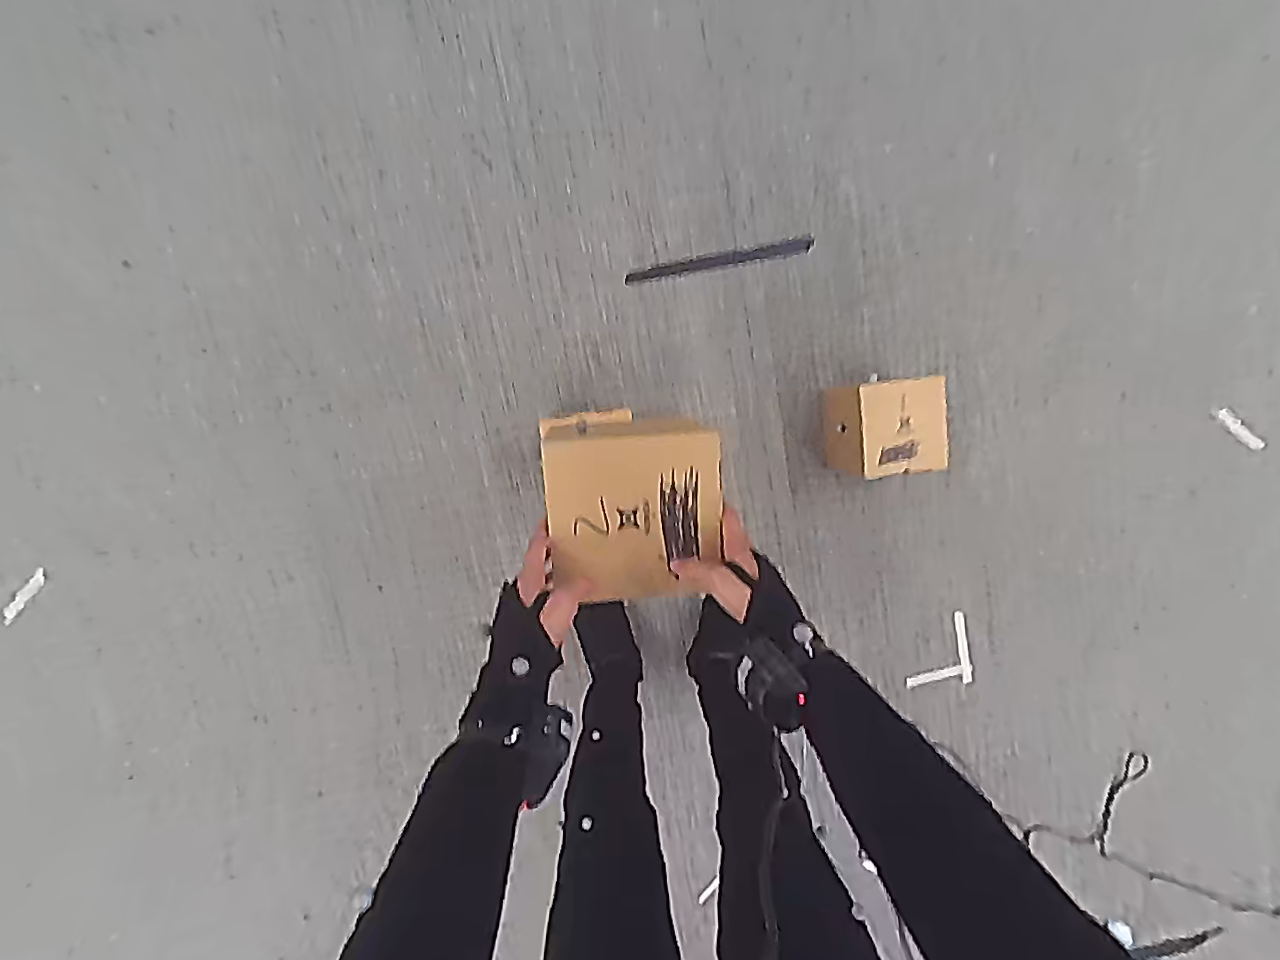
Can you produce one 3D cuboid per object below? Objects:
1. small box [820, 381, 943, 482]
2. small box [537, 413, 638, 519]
[{"bbox_3d":[0.473,-0.099,1.078,0.168,0.176,0.179,-7,97,-4],"label":"small box"},{"bbox_3d":[-0.096,-0.034,1.047,0.168,0.176,0.179,-9,97,-3],"label":"small box"}]
